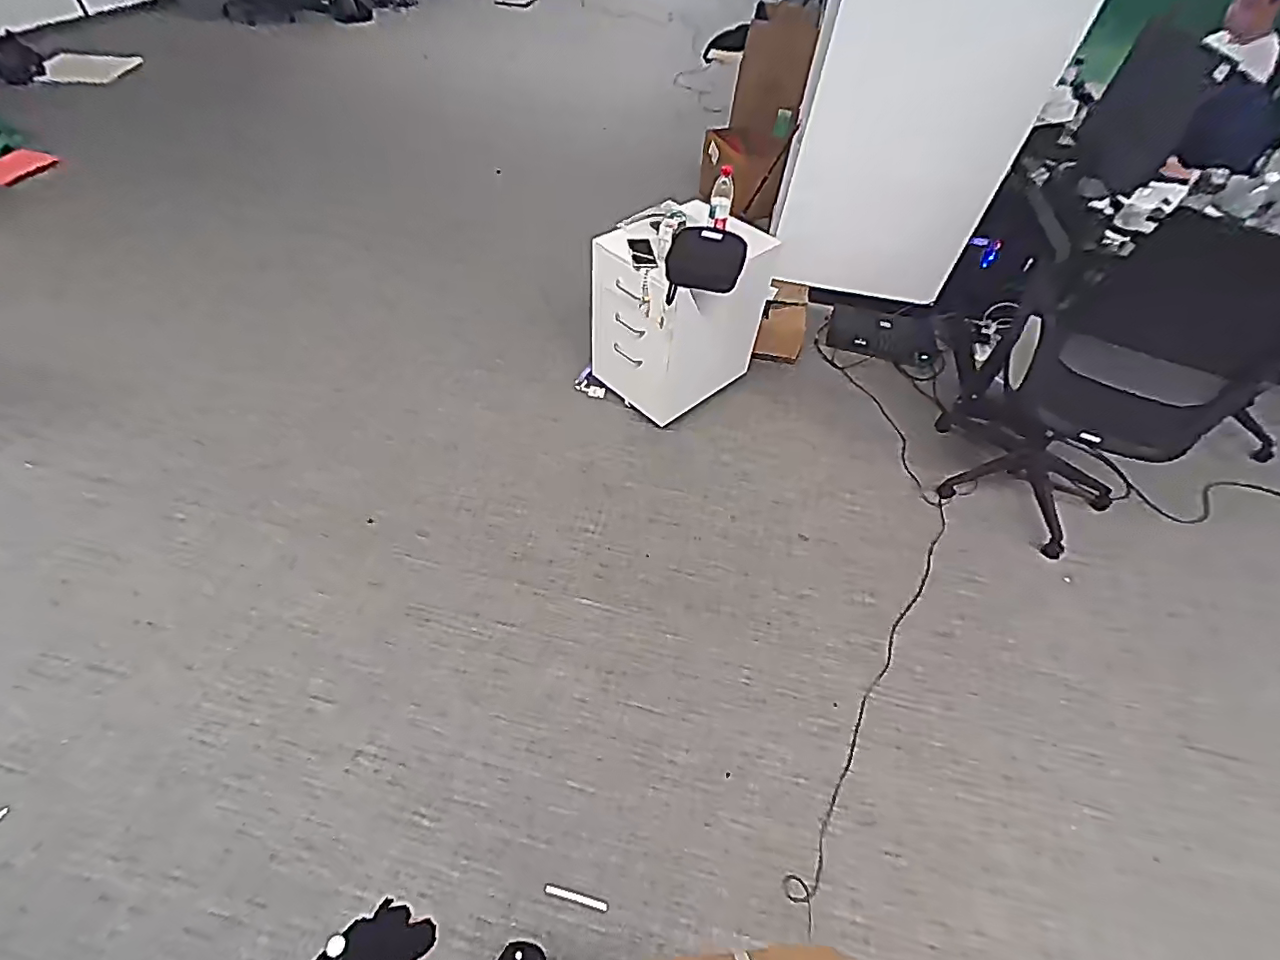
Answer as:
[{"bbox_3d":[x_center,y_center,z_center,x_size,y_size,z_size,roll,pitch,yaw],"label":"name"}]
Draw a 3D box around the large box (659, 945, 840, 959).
[{"bbox_3d":[0.180,0.840,0.617,0.320,0.408,0.320,0,78,-8],"label":"large box"}]
